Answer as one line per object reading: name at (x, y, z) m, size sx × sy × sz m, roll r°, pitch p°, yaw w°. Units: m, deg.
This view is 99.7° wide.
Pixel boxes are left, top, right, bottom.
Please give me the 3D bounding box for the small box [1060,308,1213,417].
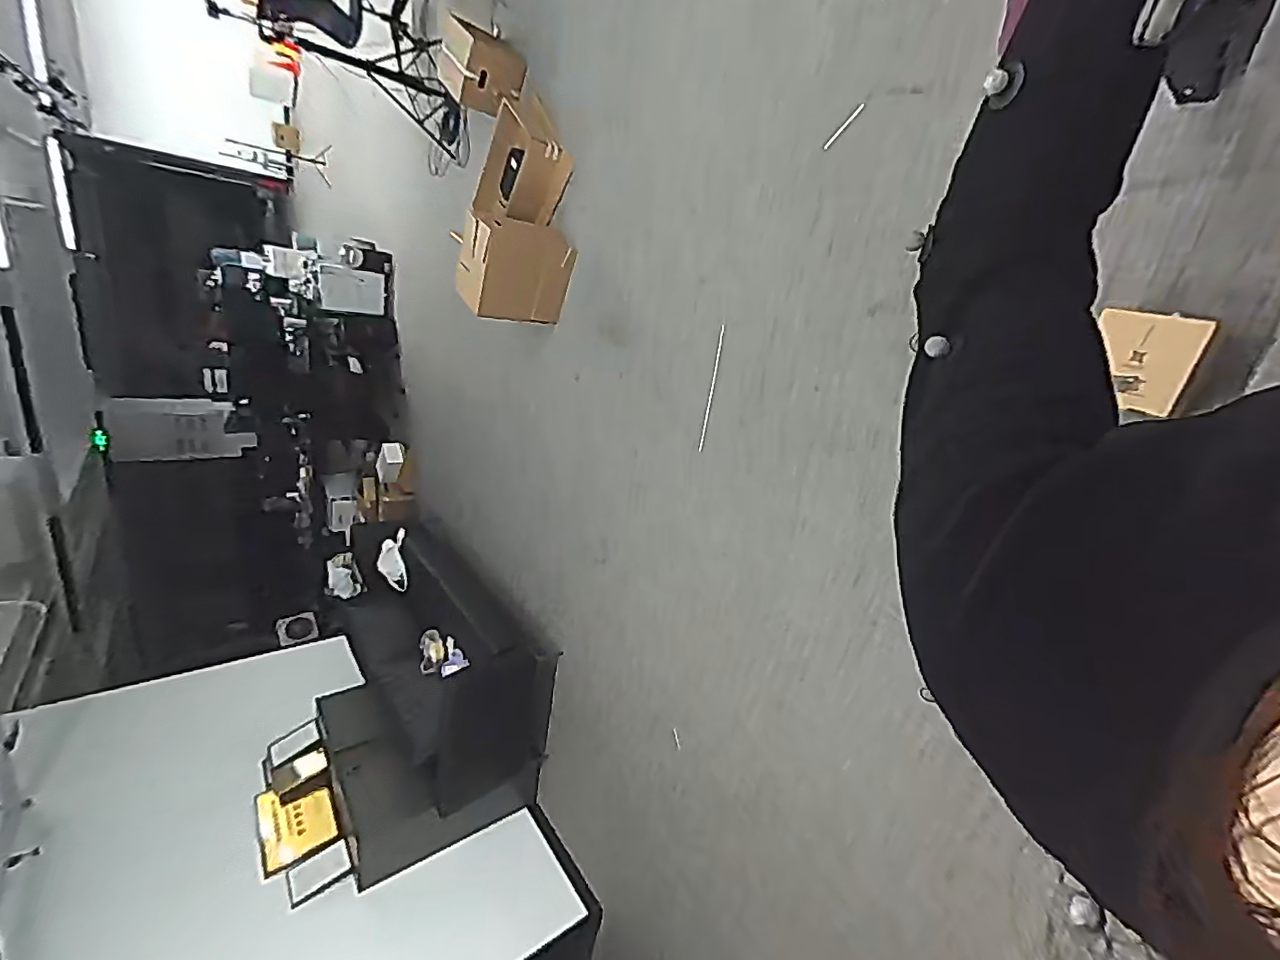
small box at (0.993, -0.232, 1.079) m, size 0.168 × 0.176 × 0.179 m, roll 32°, pitch 118°, yaw 44°
